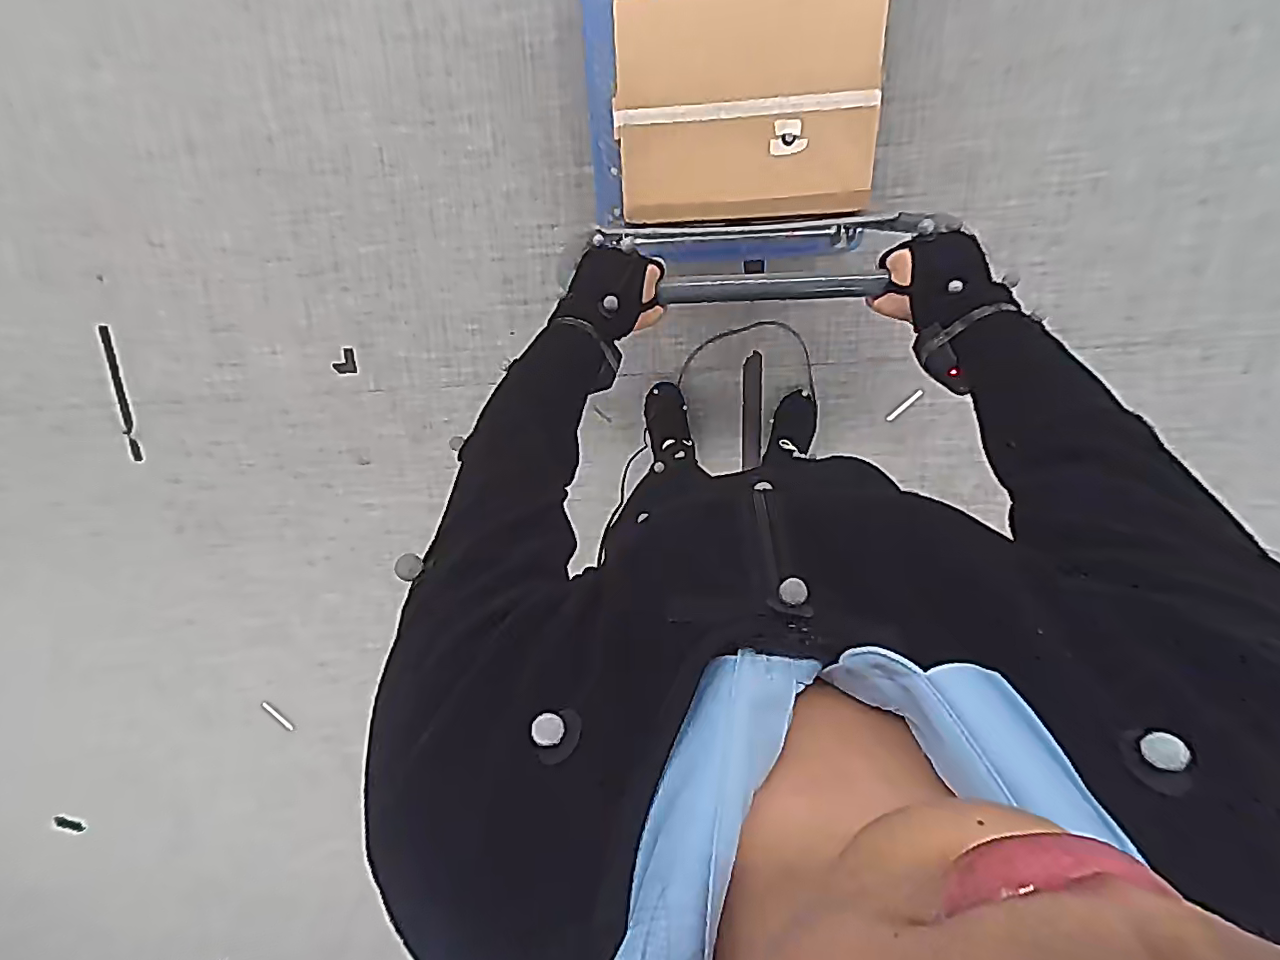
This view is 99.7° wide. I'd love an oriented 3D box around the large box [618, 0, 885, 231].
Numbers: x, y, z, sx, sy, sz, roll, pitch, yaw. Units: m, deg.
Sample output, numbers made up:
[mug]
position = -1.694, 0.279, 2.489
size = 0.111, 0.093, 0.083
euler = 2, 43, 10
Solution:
[large box]
position = 0.182, -0.650, 1.000
size = 0.408, 0.320, 0.320
euler = -1, 113, 5
